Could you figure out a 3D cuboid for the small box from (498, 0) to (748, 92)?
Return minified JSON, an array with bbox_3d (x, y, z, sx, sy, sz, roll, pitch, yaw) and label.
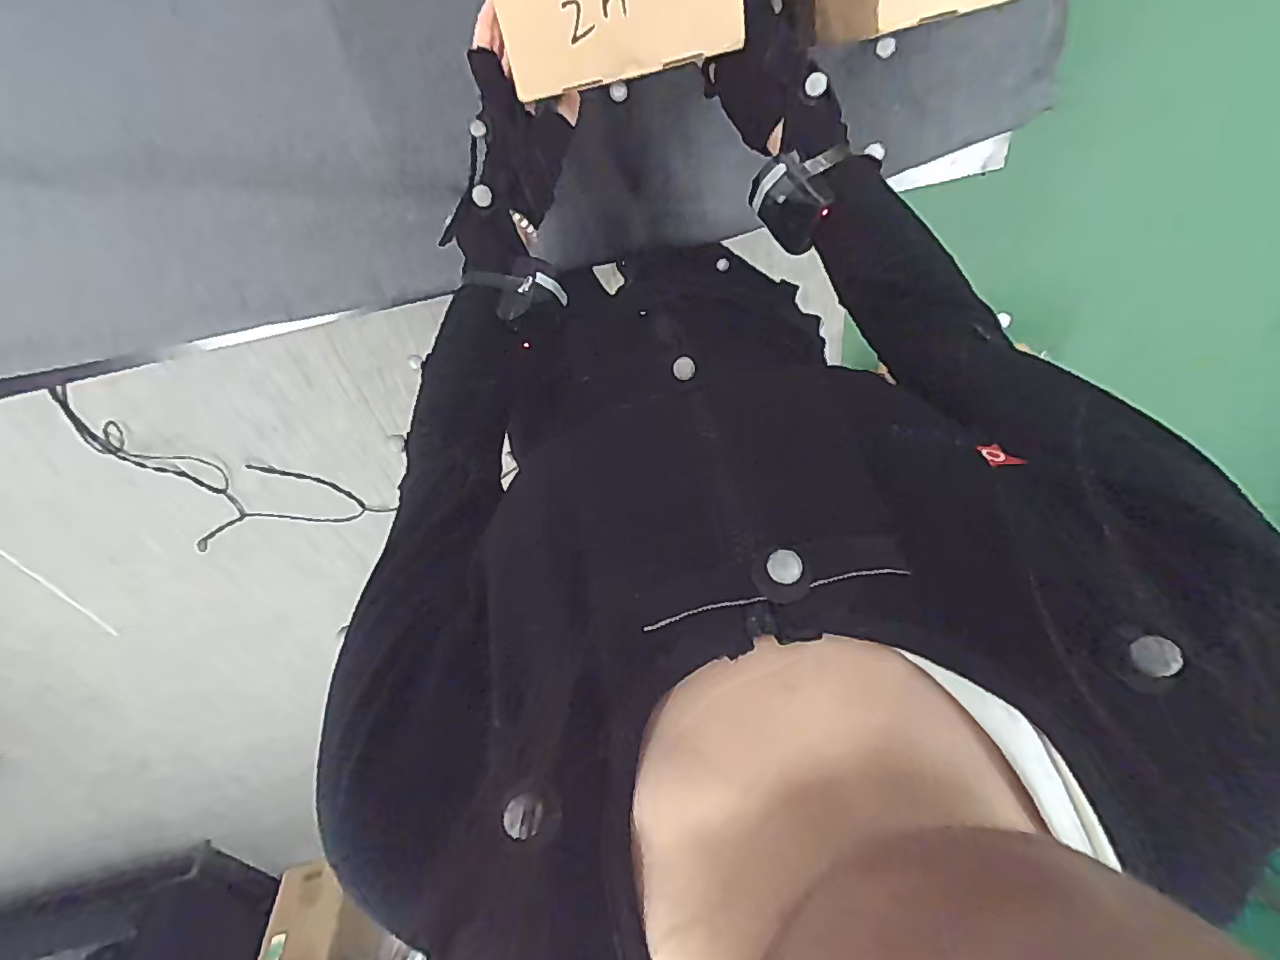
[{"bbox_3d":[-0.030,-0.402,0.391,0.168,0.176,0.179,-13,127,1],"label":"small box"}]
